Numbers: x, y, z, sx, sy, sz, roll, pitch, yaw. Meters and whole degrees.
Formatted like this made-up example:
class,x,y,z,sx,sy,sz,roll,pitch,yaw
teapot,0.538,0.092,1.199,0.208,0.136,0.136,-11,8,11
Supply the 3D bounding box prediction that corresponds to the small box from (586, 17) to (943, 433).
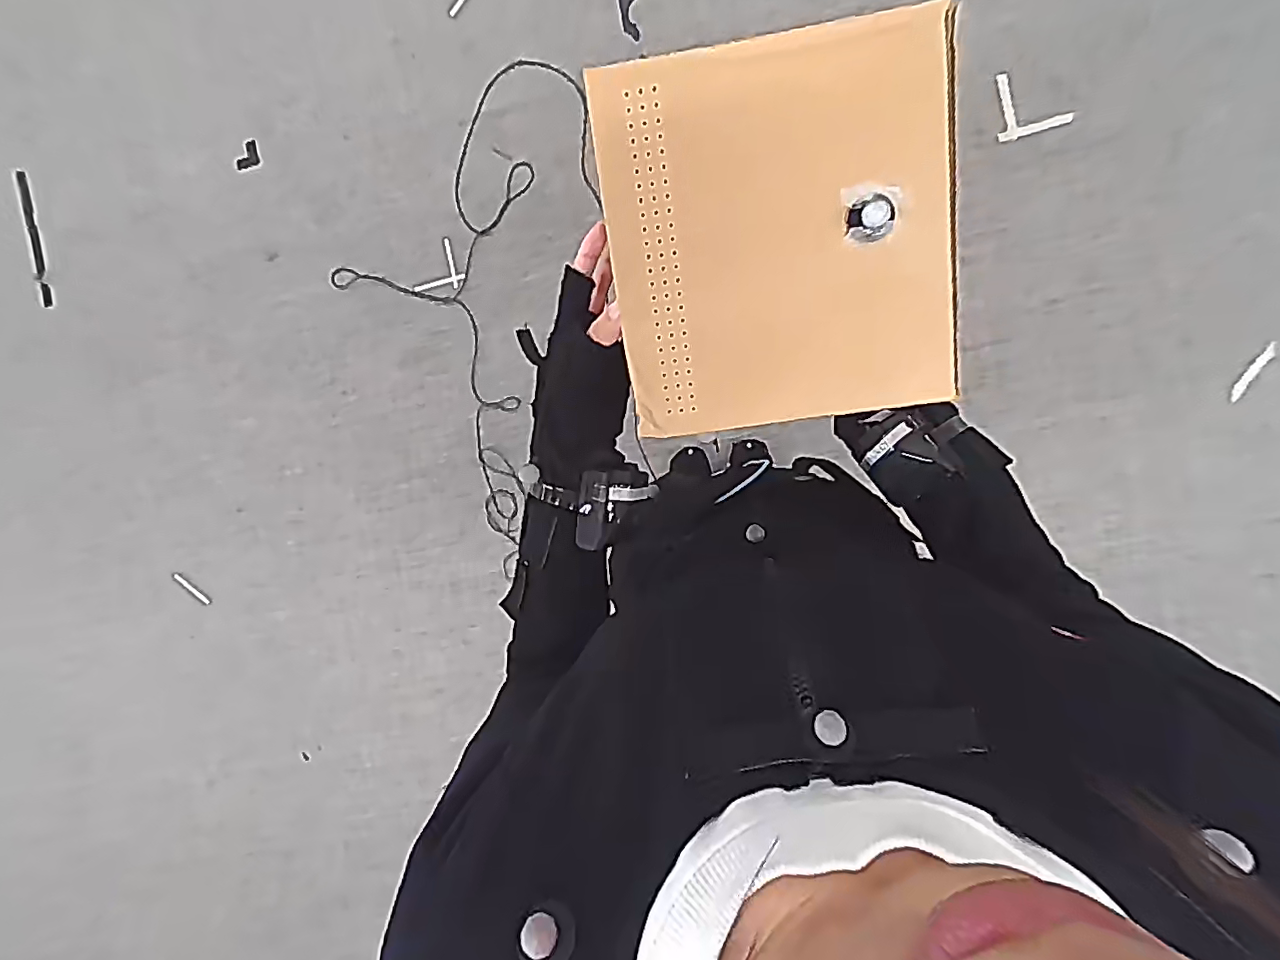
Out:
class,x,y,z,sx,sy,sz,roll,pitch,yaw
small box,0.067,-0.138,0.349,0.176,0.168,0.179,-7,104,6
